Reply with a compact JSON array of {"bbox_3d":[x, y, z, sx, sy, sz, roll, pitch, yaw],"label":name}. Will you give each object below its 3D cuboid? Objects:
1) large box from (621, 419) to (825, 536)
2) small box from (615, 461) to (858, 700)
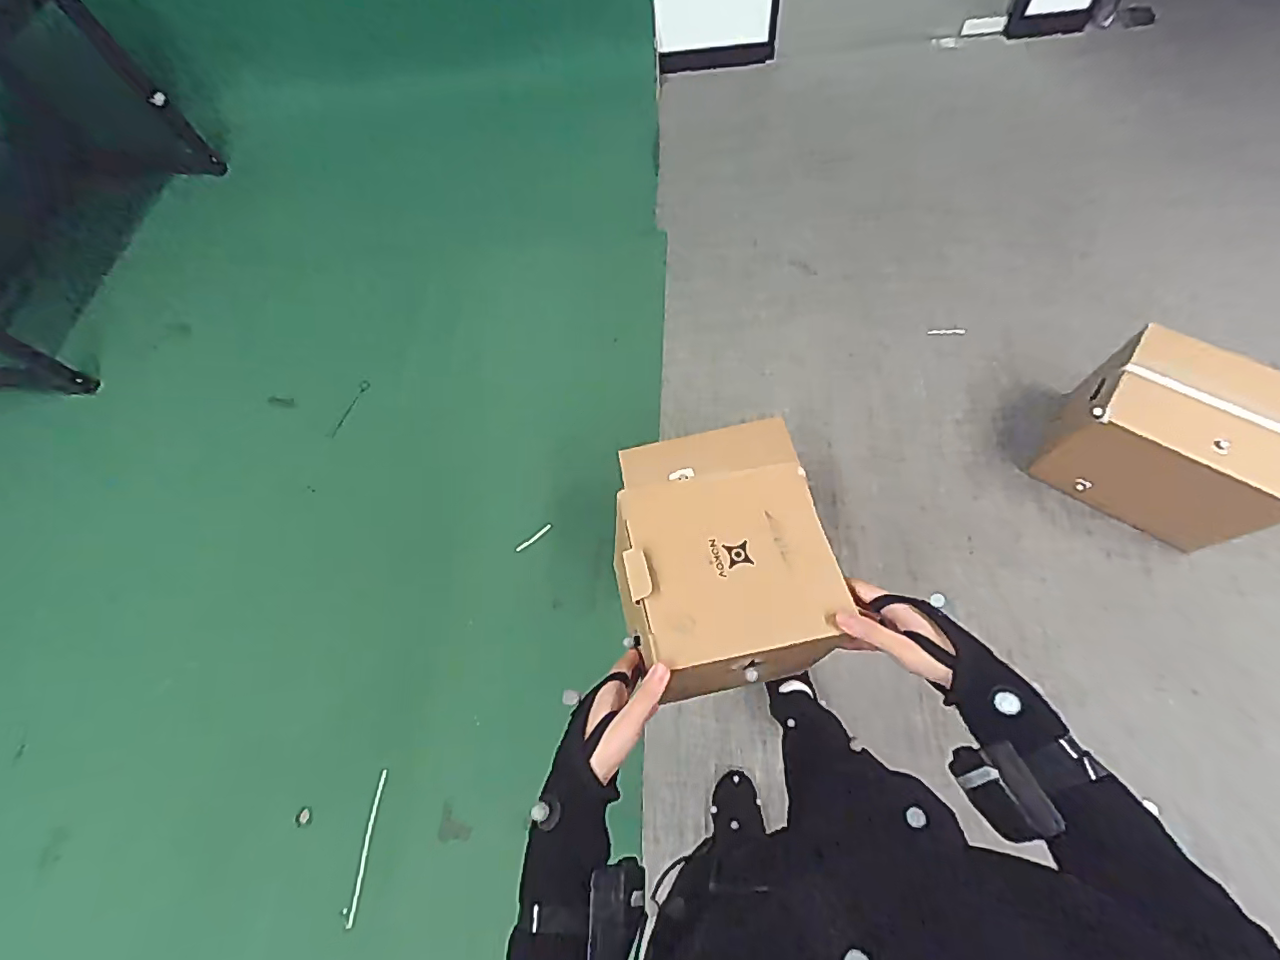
[{"bbox_3d":[0.196,0.094,1.356,0.408,0.320,0.320,-13,65,3],"label":"large box"},{"bbox_3d":[0.075,0.105,0.532,0.179,0.176,0.168,-9,59,-8],"label":"small box"}]
